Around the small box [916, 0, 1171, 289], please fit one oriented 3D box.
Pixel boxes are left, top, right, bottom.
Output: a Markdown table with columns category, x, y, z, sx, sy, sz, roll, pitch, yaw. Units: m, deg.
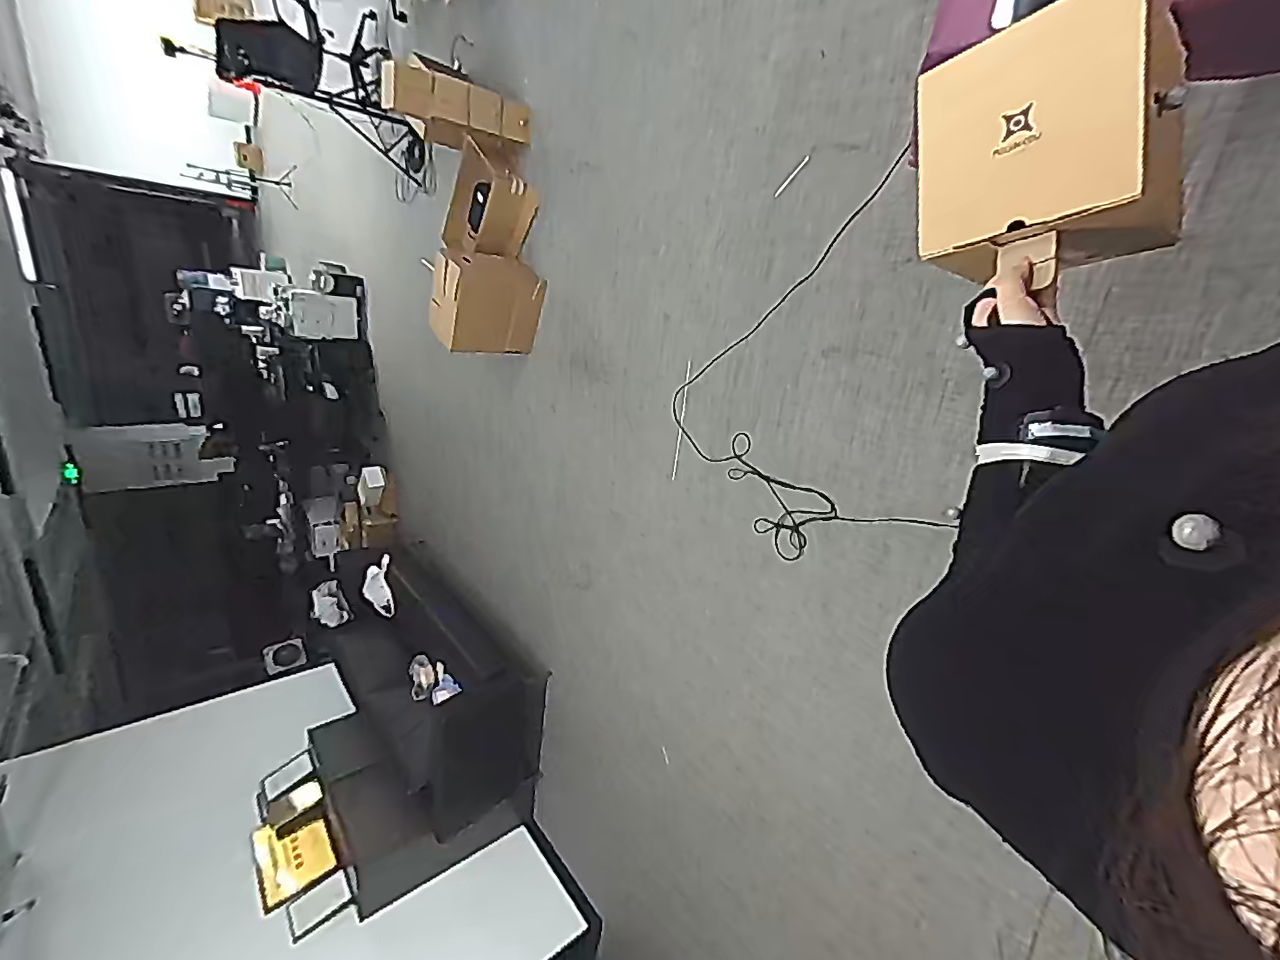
| category | x | y | z | sx | sy | sz | roll | pitch | yaw |
| --- | --- | --- | --- | --- | --- | --- | --- | --- | --- |
| small box | 0.391 | -0.304 | 0.528 | 0.168 | 0.176 | 0.179 | 2 | 96 | 51 |
